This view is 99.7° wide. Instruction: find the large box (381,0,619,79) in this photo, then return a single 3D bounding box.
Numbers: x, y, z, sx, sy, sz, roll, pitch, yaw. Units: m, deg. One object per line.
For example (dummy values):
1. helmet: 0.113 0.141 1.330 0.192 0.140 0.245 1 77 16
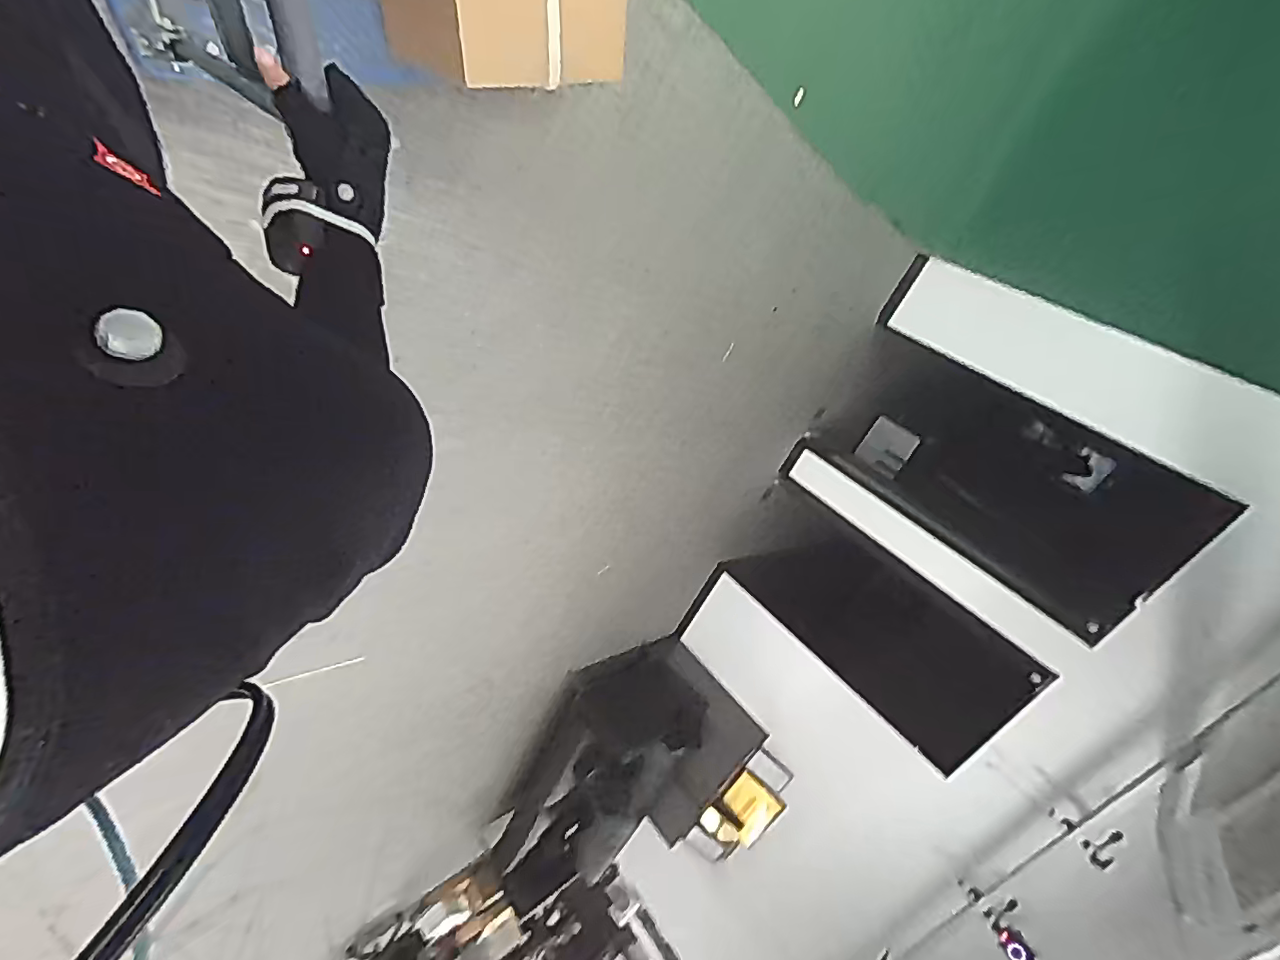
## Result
1. large box: -0.241 -0.913 0.857 0.320 0.320 0.408 -28 143 -30
